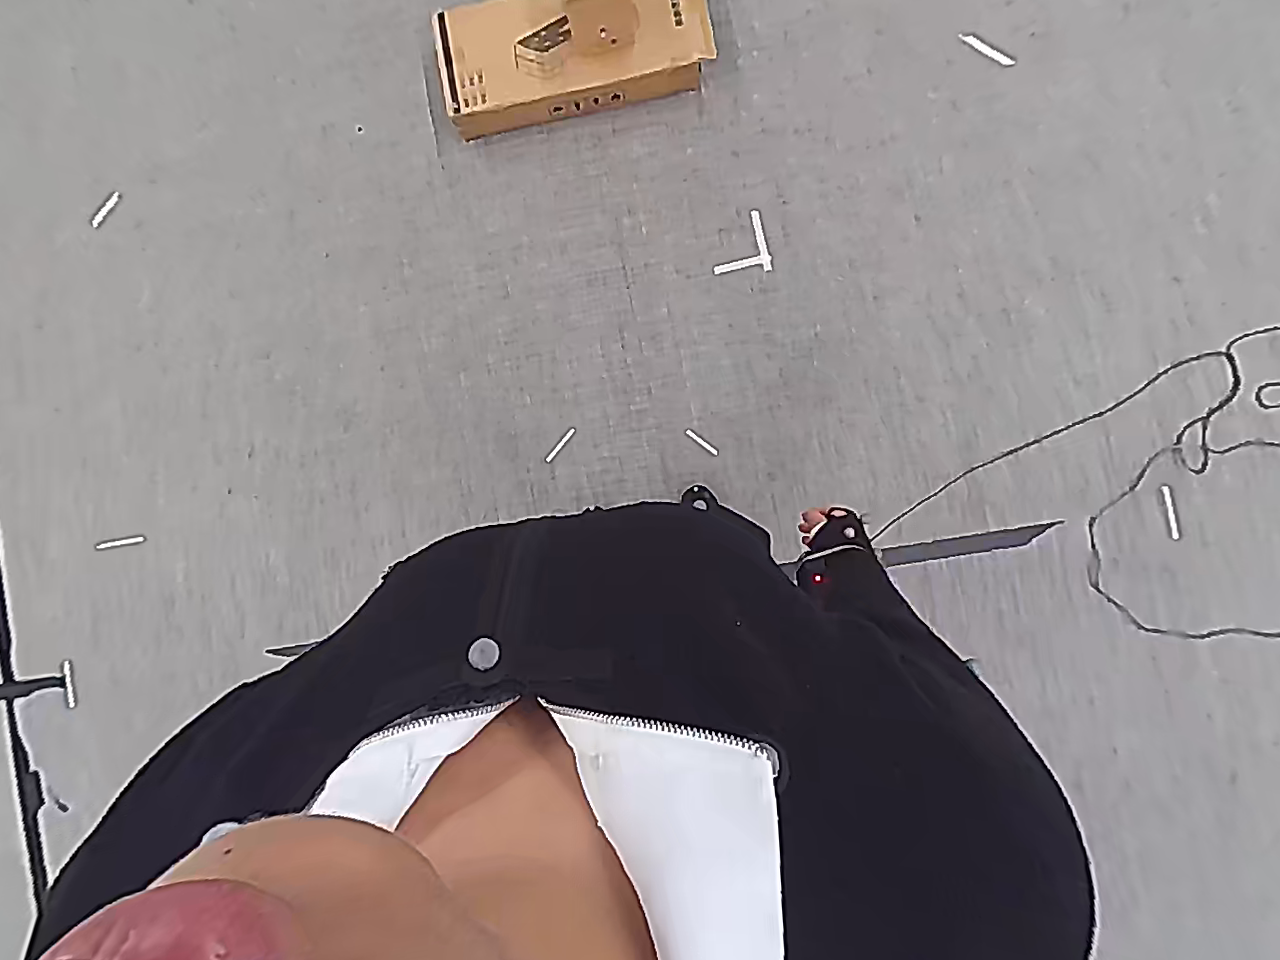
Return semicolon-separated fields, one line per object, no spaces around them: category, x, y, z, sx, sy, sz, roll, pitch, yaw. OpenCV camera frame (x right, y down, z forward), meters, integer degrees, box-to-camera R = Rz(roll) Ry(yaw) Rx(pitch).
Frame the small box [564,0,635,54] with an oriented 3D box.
small box;-0.113;-1.236;1.363;0.168;0.176;0.179;-11;87;4
